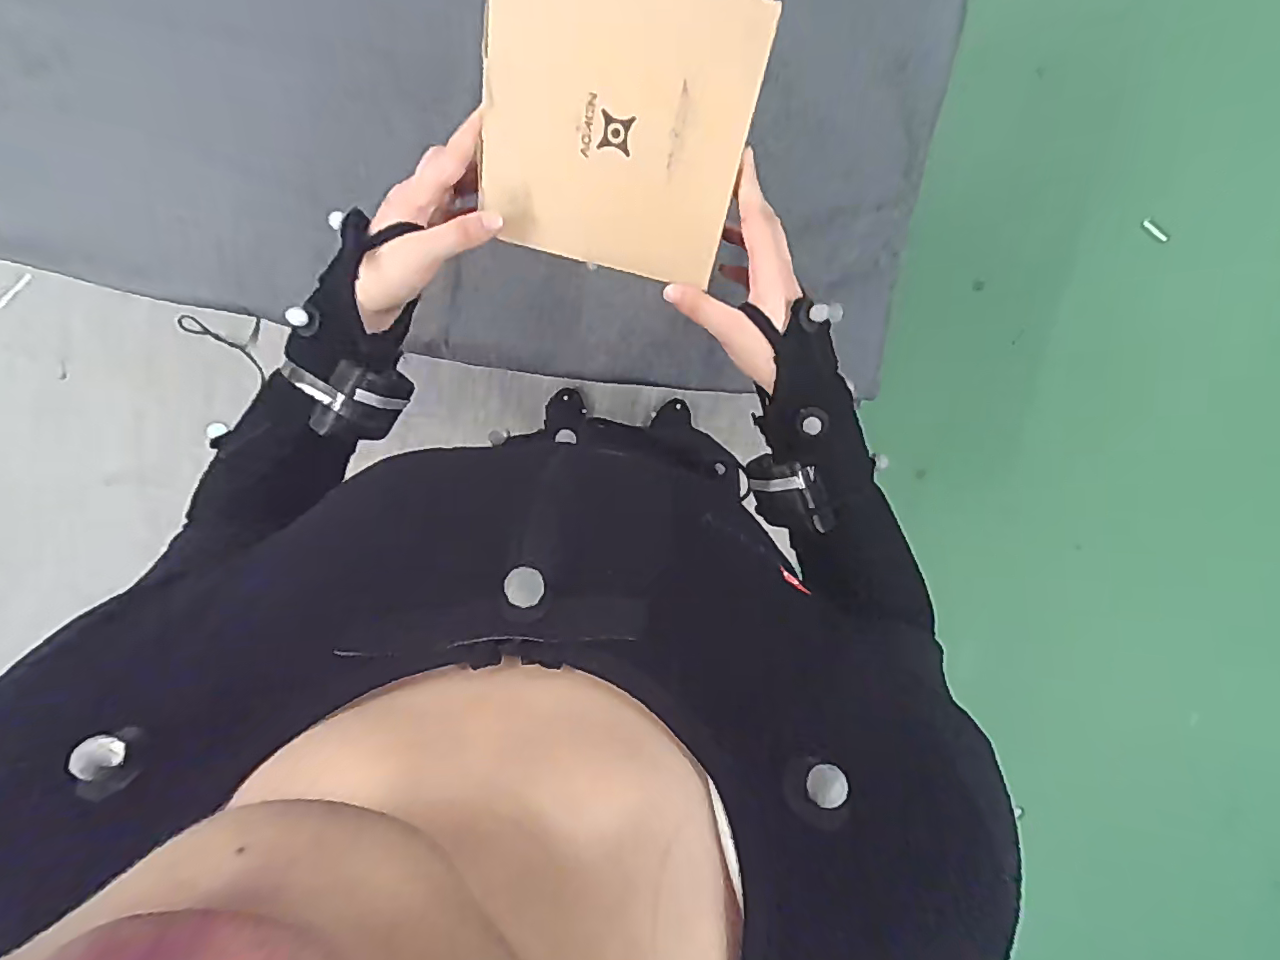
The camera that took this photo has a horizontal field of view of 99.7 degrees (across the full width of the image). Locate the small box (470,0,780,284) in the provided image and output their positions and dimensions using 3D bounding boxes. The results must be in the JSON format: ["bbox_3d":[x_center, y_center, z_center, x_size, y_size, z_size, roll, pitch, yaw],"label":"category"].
[{"bbox_3d":[-0.011,-0.266,0.410,0.179,0.176,0.168,13,122,0],"label":"small box"}]
